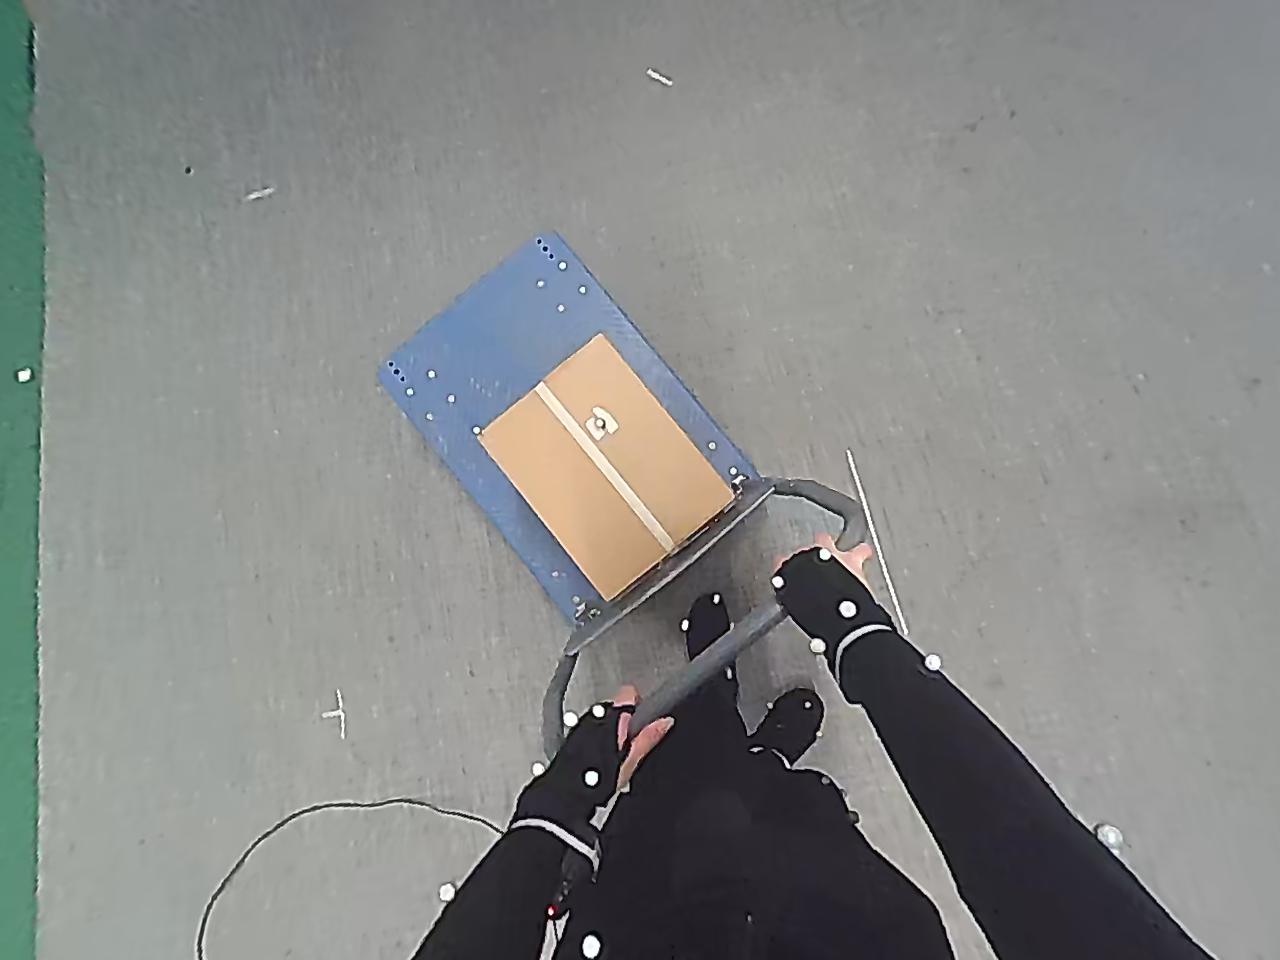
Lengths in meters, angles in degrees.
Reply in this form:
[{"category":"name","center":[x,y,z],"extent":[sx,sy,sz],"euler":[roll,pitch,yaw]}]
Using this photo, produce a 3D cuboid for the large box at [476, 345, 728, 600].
[{"category":"large box","center":[-0.065,-0.008,1.172],"extent":[0.320,0.320,0.408],"euler":[-40,85,0]}]
